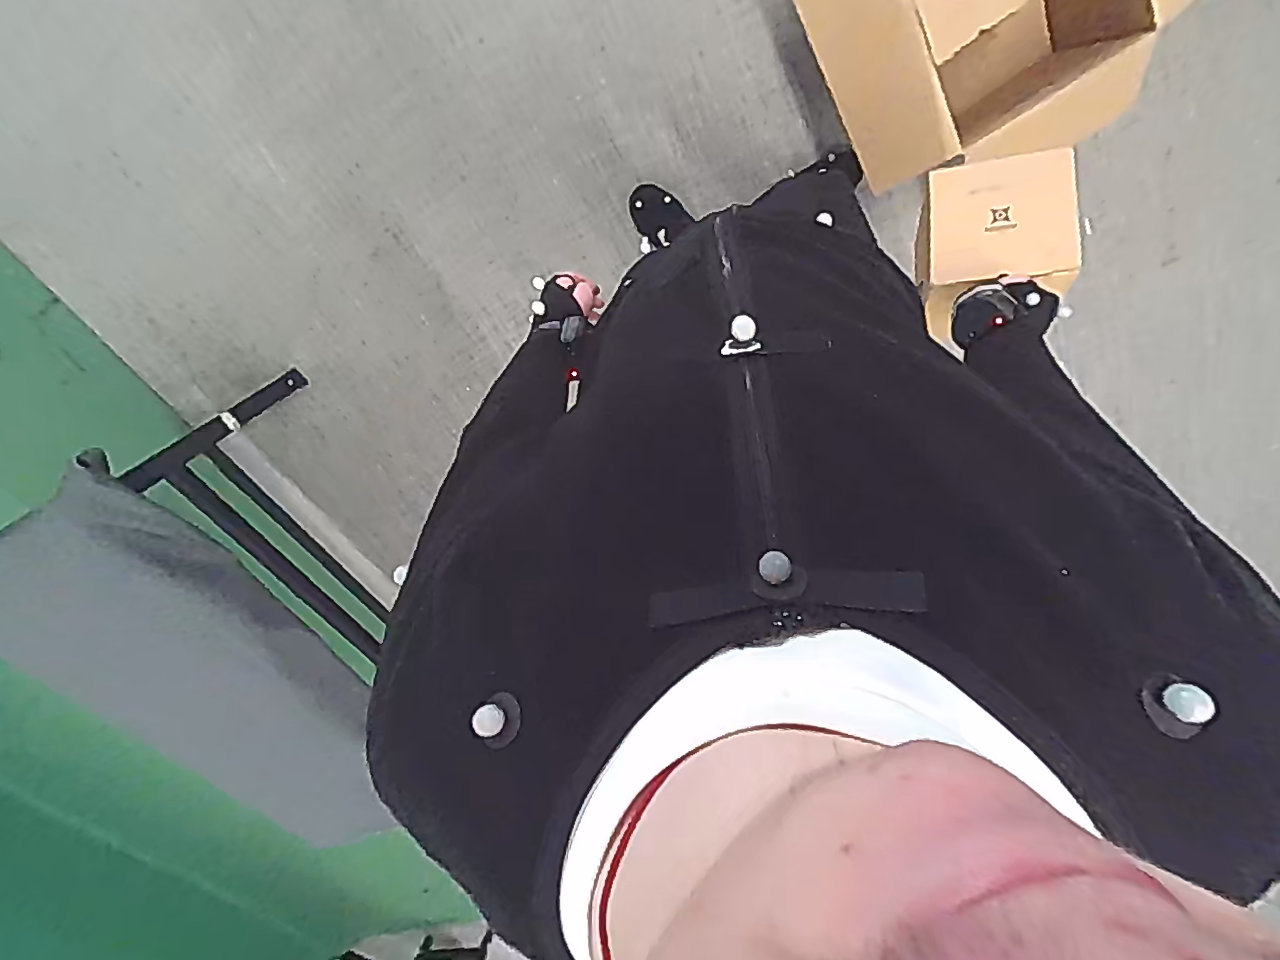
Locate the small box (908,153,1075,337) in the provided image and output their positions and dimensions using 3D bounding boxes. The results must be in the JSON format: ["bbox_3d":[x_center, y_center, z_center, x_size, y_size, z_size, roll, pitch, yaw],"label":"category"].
[{"bbox_3d":[0.487,-0.318,0.775,0.168,0.179,0.176,0,165,19],"label":"small box"}]
